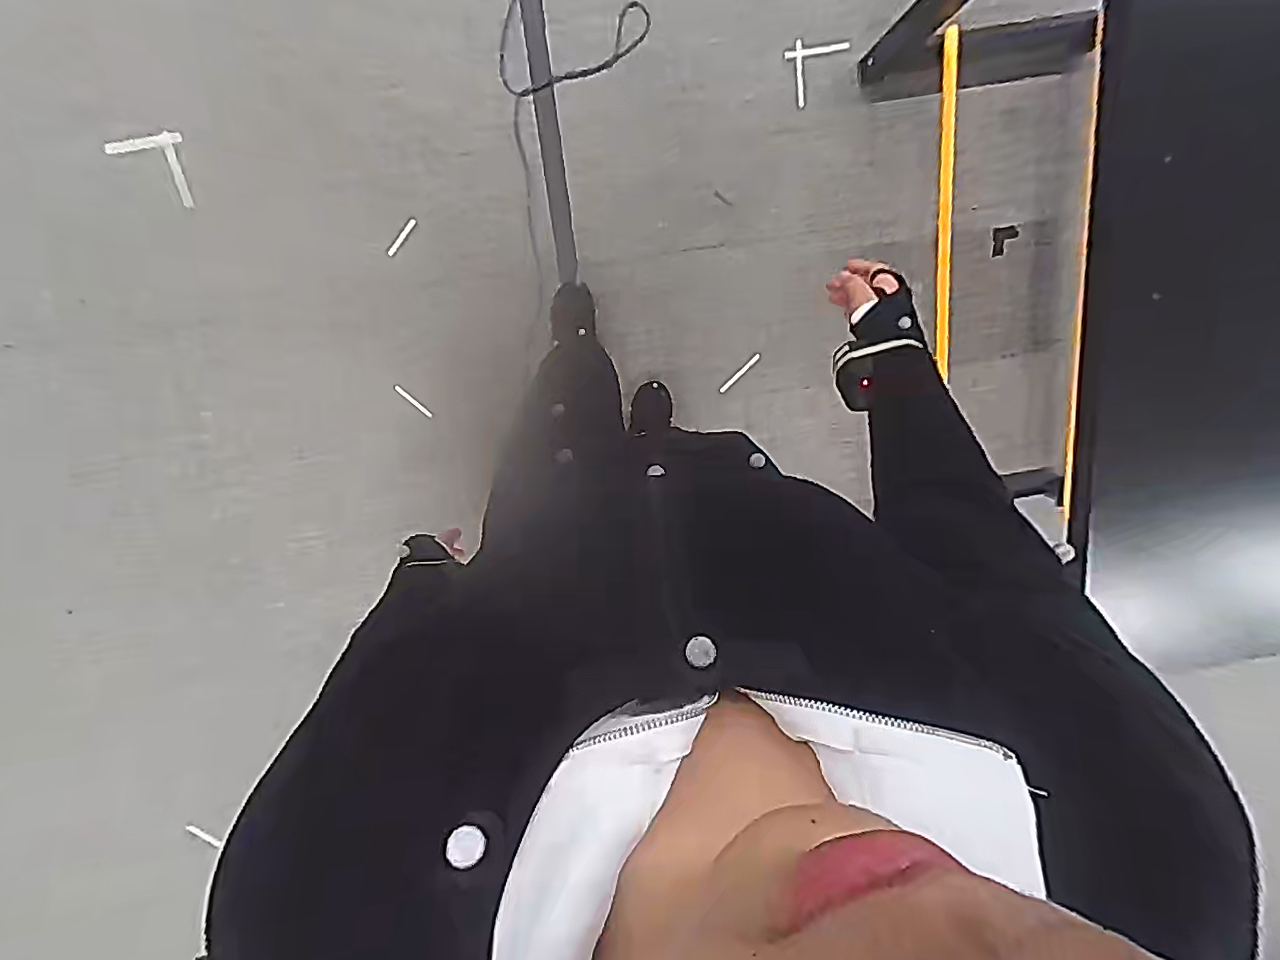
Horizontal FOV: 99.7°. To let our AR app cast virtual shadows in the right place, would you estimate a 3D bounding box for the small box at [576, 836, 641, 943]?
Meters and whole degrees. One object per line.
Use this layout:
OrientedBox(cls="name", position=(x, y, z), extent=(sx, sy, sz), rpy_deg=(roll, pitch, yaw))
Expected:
OrientedBox(cls="small box", position=(-0.087, 1.170, 1.552), extent=(0.168, 0.176, 0.179), rpy_deg=(-7, 104, -2))
